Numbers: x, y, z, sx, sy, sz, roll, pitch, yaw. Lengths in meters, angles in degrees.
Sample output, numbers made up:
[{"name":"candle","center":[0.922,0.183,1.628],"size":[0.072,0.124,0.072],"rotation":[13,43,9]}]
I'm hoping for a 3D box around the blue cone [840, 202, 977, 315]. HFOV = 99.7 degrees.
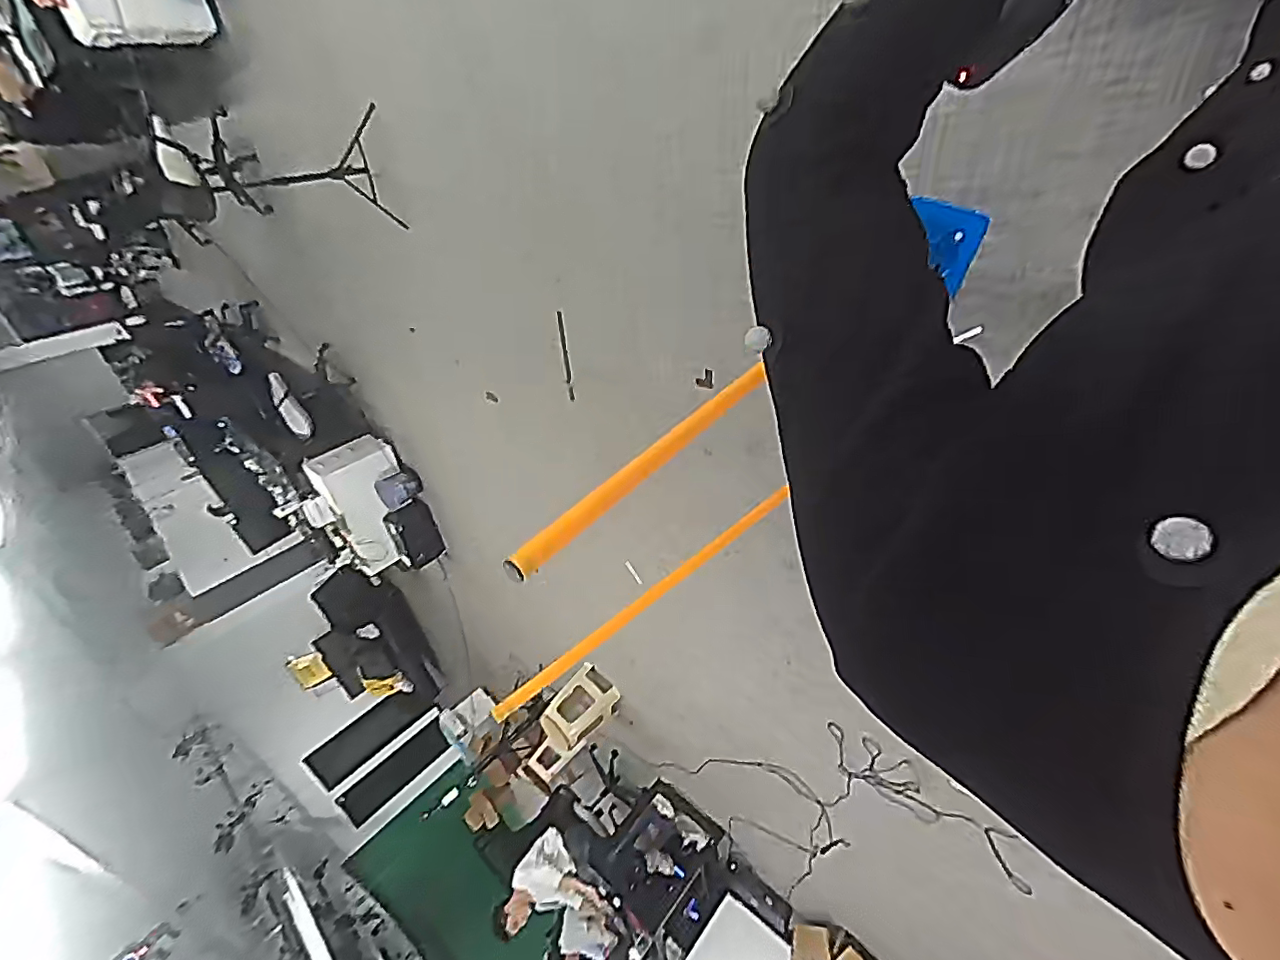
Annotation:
[{"name":"blue cone","center":[0.510,-0.421,1.101],"size":[0.193,0.380,0.192],"rotation":[35,141,25]}]
